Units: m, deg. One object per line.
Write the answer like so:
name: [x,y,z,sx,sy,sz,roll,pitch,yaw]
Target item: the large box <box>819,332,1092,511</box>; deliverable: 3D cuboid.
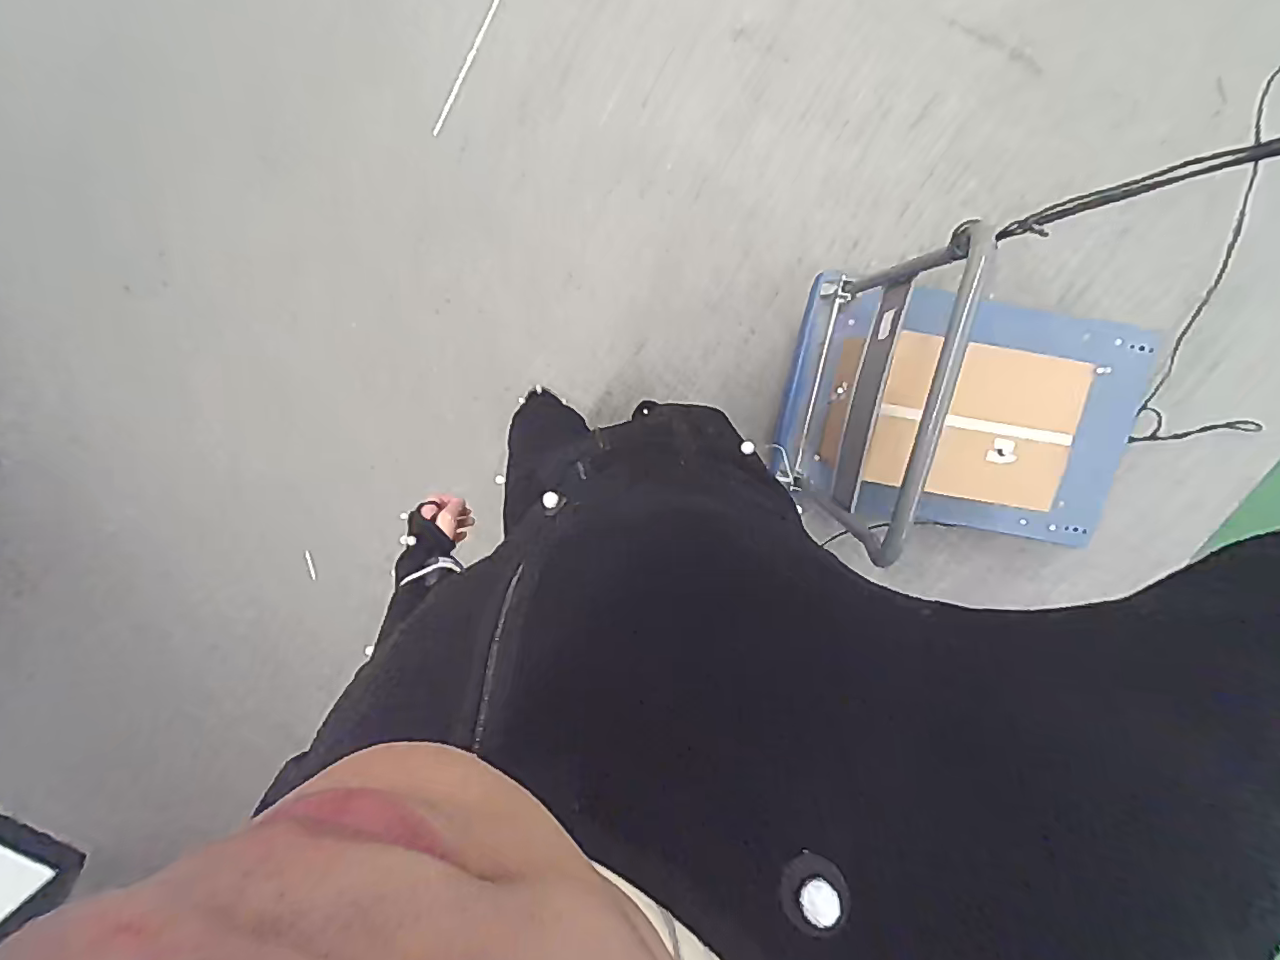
large box: [0.679,-0.142,1.242,0.408,0.320,0.320,11,102,-1]
